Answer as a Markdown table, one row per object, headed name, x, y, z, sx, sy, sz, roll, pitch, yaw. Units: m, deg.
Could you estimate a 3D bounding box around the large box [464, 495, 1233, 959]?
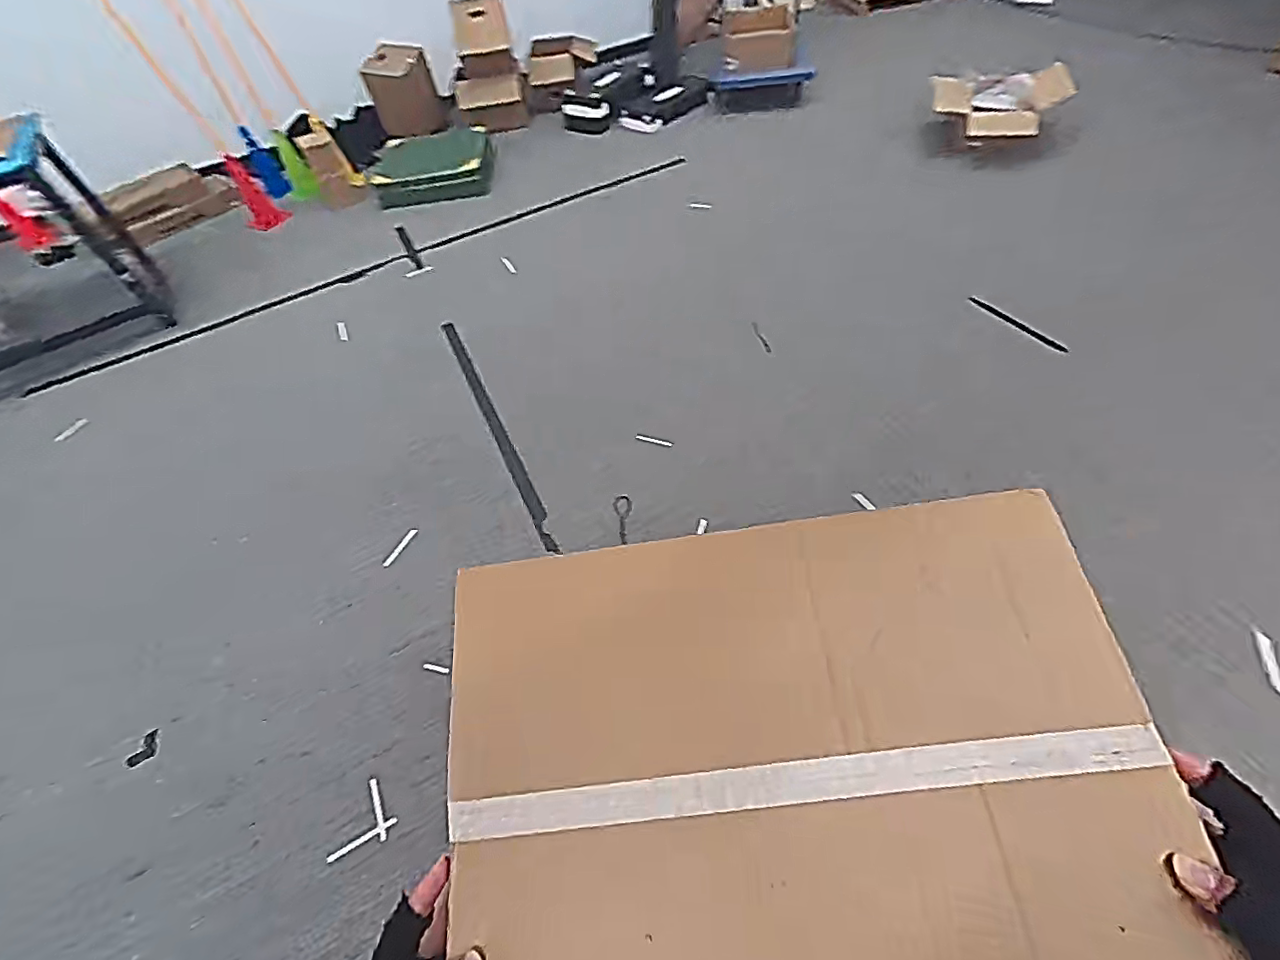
| name | x | y | z | sx | sy | sz | roll | pitch | yaw |
| --- | --- | --- | --- | --- | --- | --- | --- | --- | --- |
| large box | 0.105 | 0.242 | 0.457 | 0.408 | 0.320 | 0.320 | -10 | 66 | 4 |
